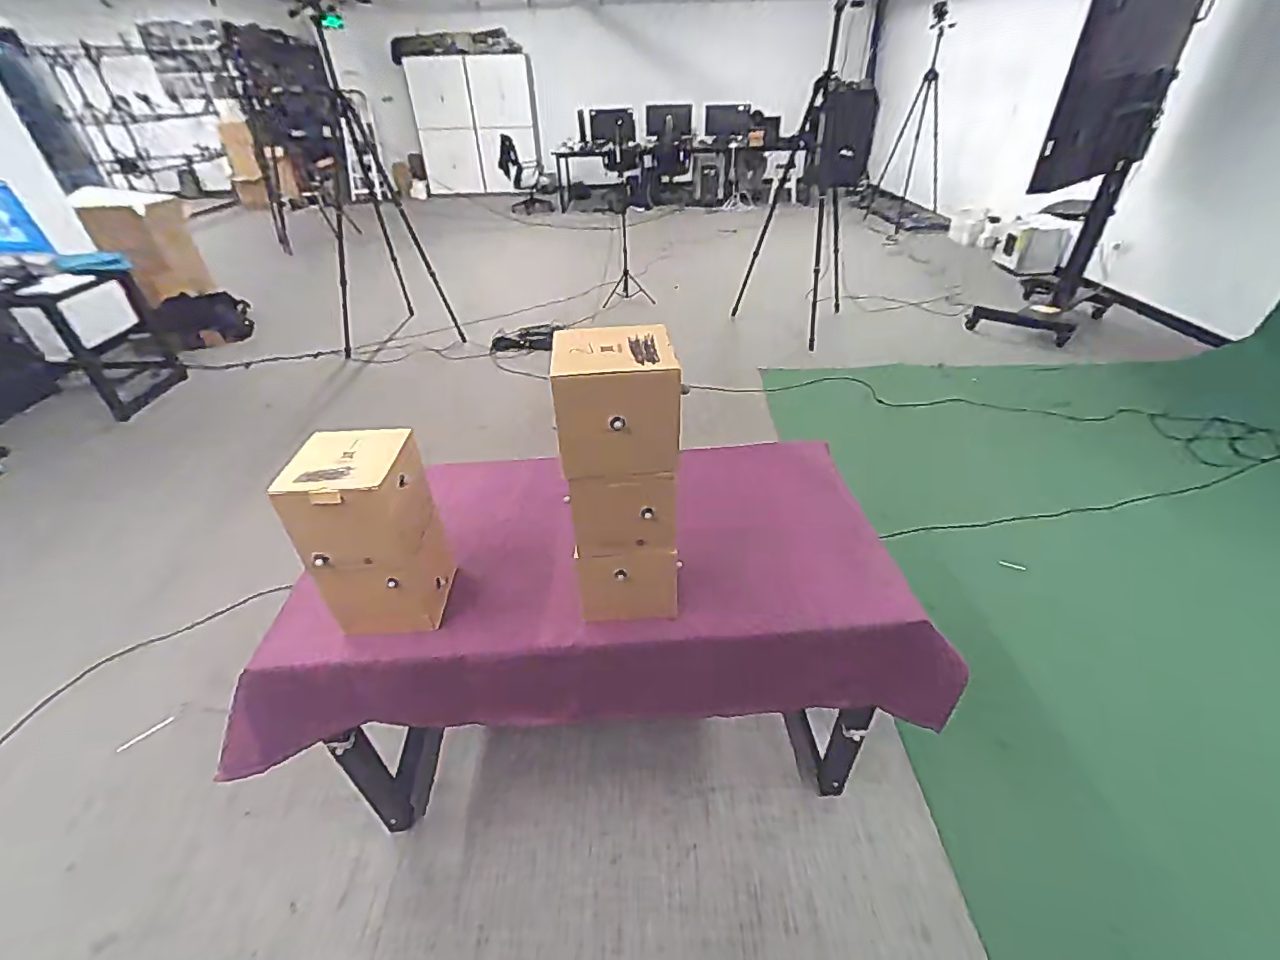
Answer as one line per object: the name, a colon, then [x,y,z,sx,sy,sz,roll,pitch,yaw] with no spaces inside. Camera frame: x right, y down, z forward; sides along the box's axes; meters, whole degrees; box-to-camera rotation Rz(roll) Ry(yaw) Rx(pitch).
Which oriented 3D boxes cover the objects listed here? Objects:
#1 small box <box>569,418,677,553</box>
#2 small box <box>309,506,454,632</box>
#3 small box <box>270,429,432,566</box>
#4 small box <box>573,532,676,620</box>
small box: [-0.027,0.012,0.920,0.168,0.176,0.179,-3,36,-3]
small box: [-0.464,0.166,1.003,0.179,0.176,0.168,-2,36,-3]
small box: [-0.465,0.032,0.908,0.168,0.176,0.179,-2,35,-3]
small box: [-0.024,0.147,1.011,0.179,0.176,0.168,-2,37,0]
